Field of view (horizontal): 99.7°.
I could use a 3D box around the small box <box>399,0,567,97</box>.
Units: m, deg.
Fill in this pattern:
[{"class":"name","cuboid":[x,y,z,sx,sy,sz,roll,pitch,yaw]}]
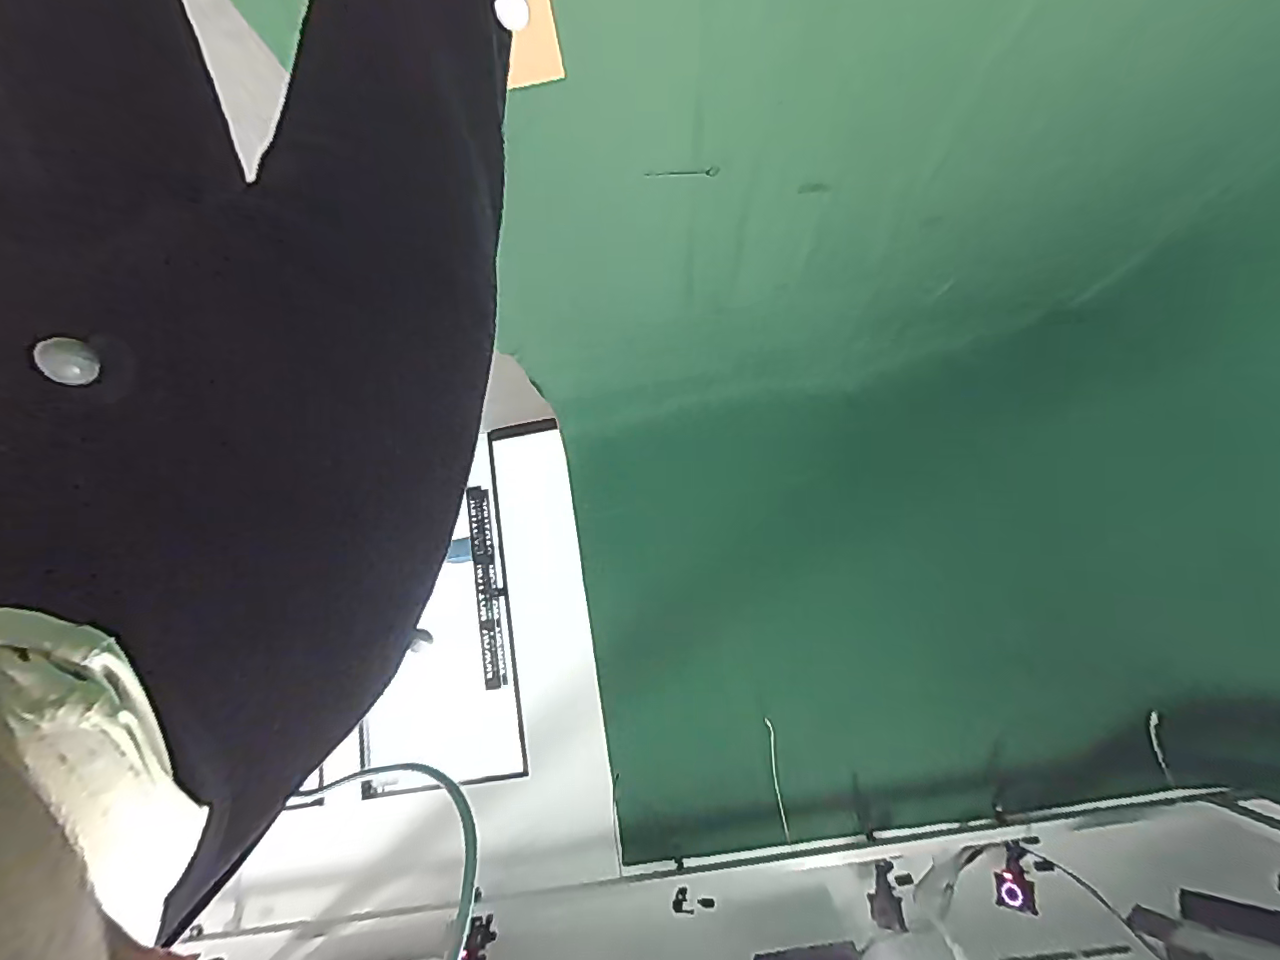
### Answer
[{"class":"small box","cuboid":[-0.199,-0.628,0.670,0.179,0.176,0.168,-9,168,1]}]
